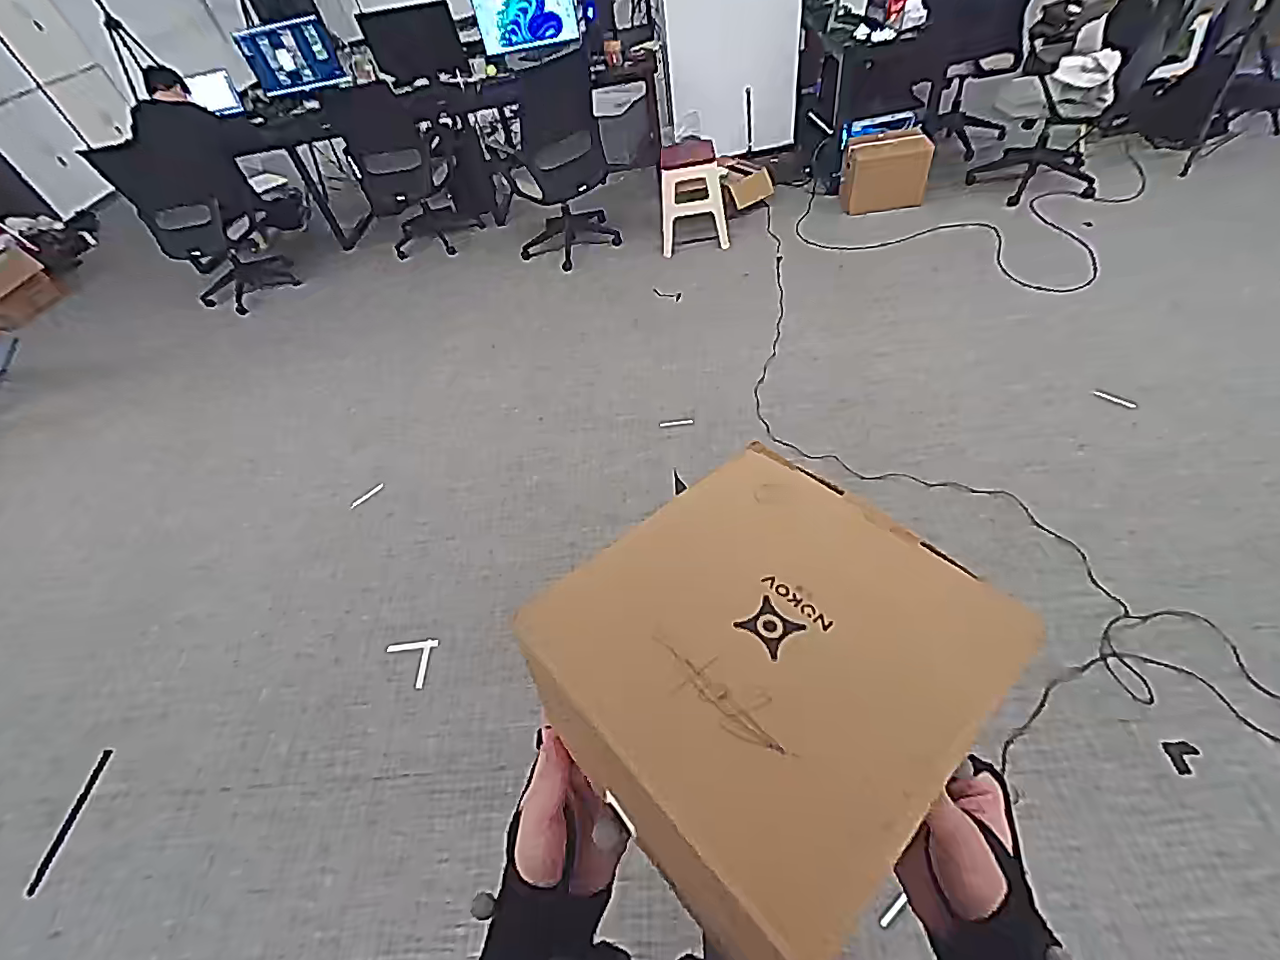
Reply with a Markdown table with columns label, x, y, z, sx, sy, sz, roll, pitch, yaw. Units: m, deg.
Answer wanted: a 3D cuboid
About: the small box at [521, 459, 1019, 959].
| label | x | y | z | sx | sy | sz | roll | pitch | yaw |
| --- | --- | --- | --- | --- | --- | --- | --- | --- | --- |
| small box | 0.061 | 0.126 | 0.308 | 0.179 | 0.176 | 0.168 | -36 | 55 | -27 |
